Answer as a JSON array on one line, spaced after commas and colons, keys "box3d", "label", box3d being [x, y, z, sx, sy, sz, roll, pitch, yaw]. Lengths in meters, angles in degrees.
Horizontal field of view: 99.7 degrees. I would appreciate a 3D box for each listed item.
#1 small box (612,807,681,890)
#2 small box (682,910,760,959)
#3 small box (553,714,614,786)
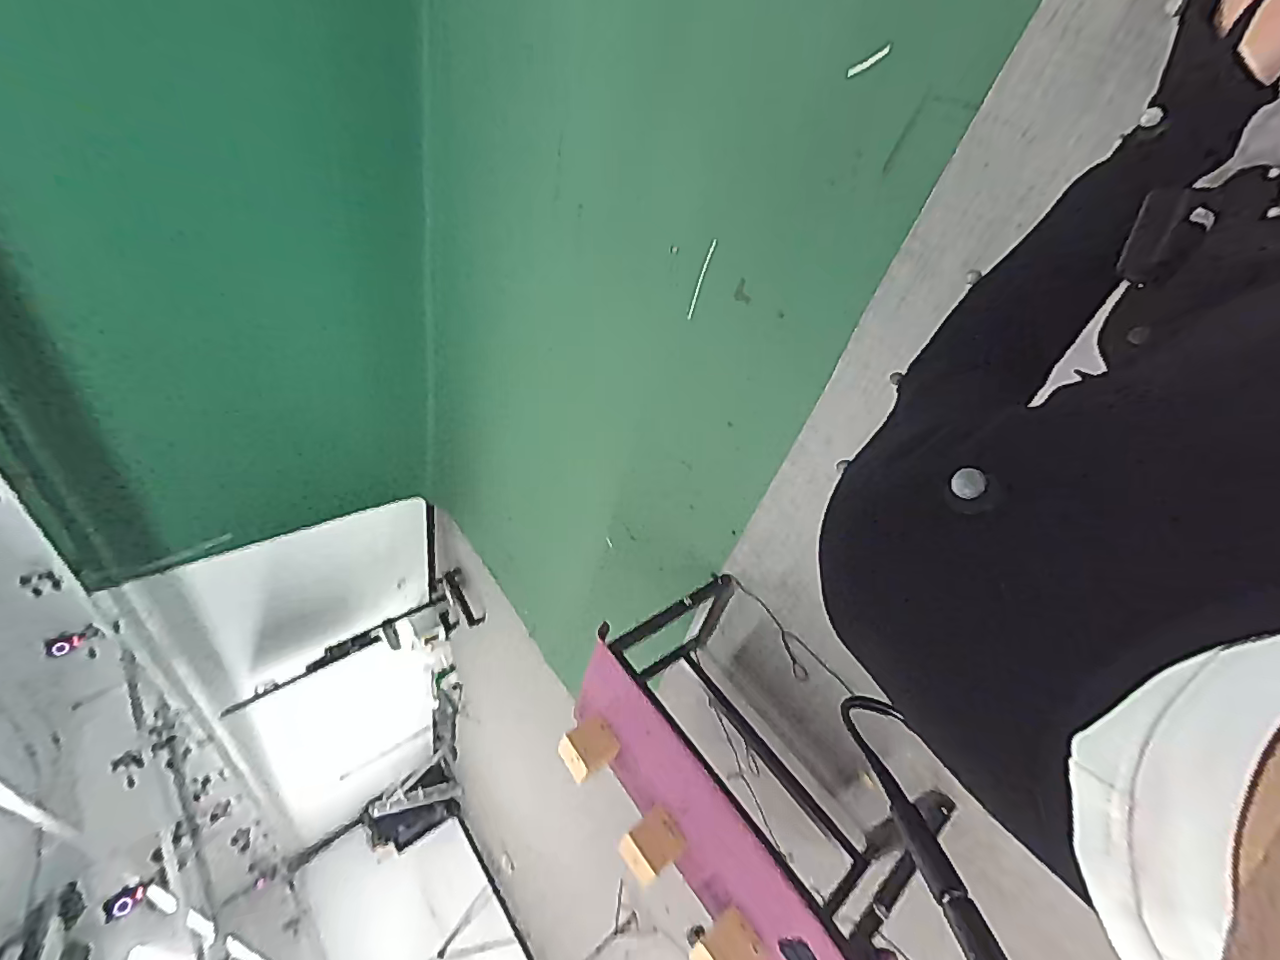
[{"box3d": [0.025, 1.350, 1.985, 0.168, 0.176, 0.179, 44, 135, 29], "label": "small box"}, {"box3d": [0.270, 1.570, 1.777, 0.168, 0.176, 0.179, 42, 136, 32], "label": "small box"}, {"box3d": [-0.224, 1.079, 2.168, 0.168, 0.176, 0.179, 46, 137, 26], "label": "small box"}]
